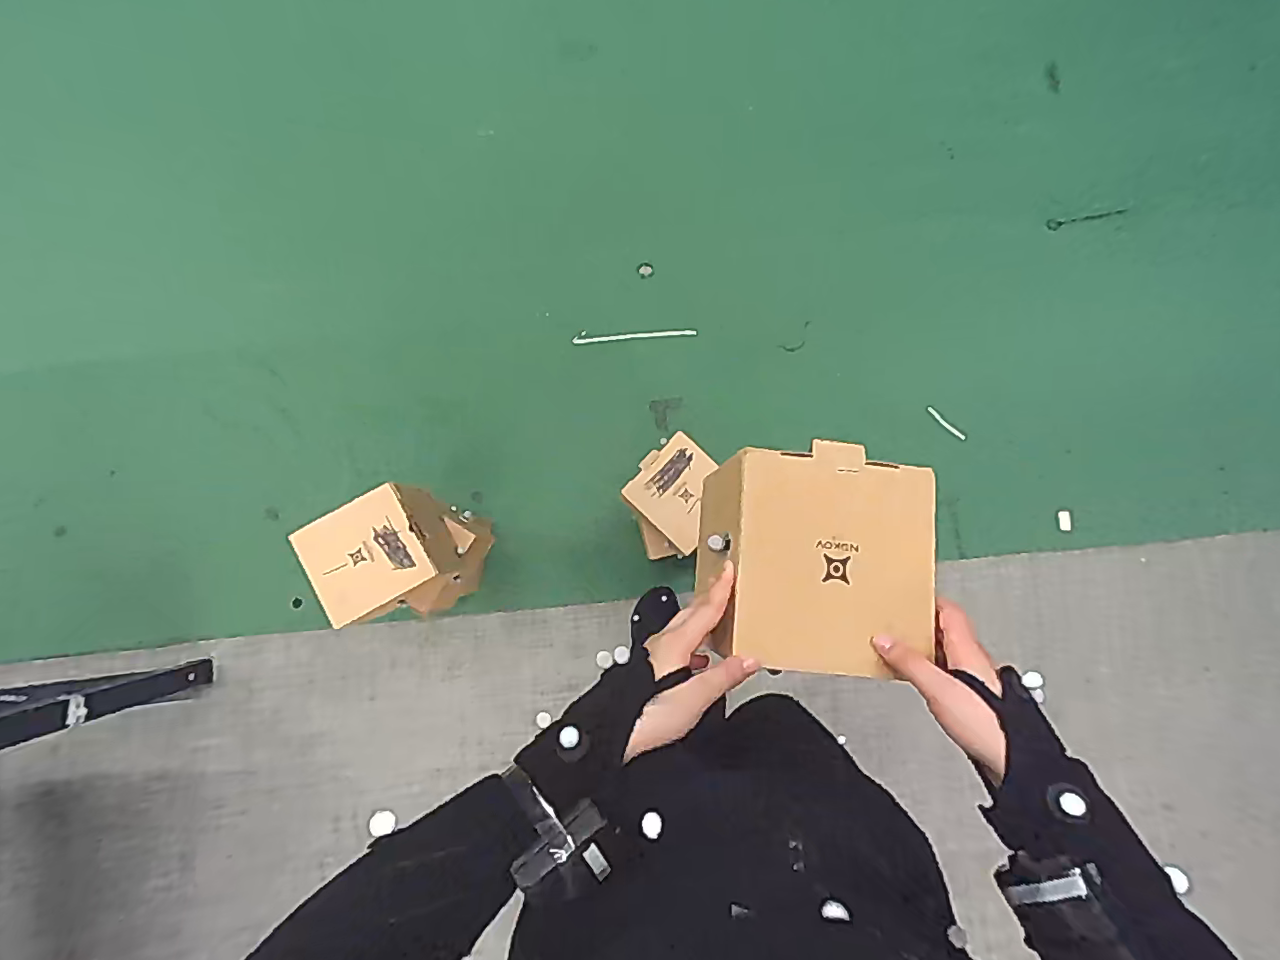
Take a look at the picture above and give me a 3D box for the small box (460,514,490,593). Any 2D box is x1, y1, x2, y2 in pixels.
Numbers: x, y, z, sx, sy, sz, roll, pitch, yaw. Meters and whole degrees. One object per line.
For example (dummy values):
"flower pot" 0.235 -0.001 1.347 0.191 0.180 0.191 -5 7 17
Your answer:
"small box" -0.451 0.158 1.221 0.168 0.176 0.179 11 83 -1

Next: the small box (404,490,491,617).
"small box" -0.415 0.142 1.060 0.168 0.176 0.179 32 83 1

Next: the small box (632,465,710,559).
"small box" 0.078 0.080 1.243 0.168 0.176 0.179 -14 83 -4

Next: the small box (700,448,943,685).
"small box" 0.155 0.079 0.510 0.168 0.176 0.179 6 80 -4

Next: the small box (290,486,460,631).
"small box" -0.419 0.123 0.897 0.179 0.176 0.168 -28 86 -4
